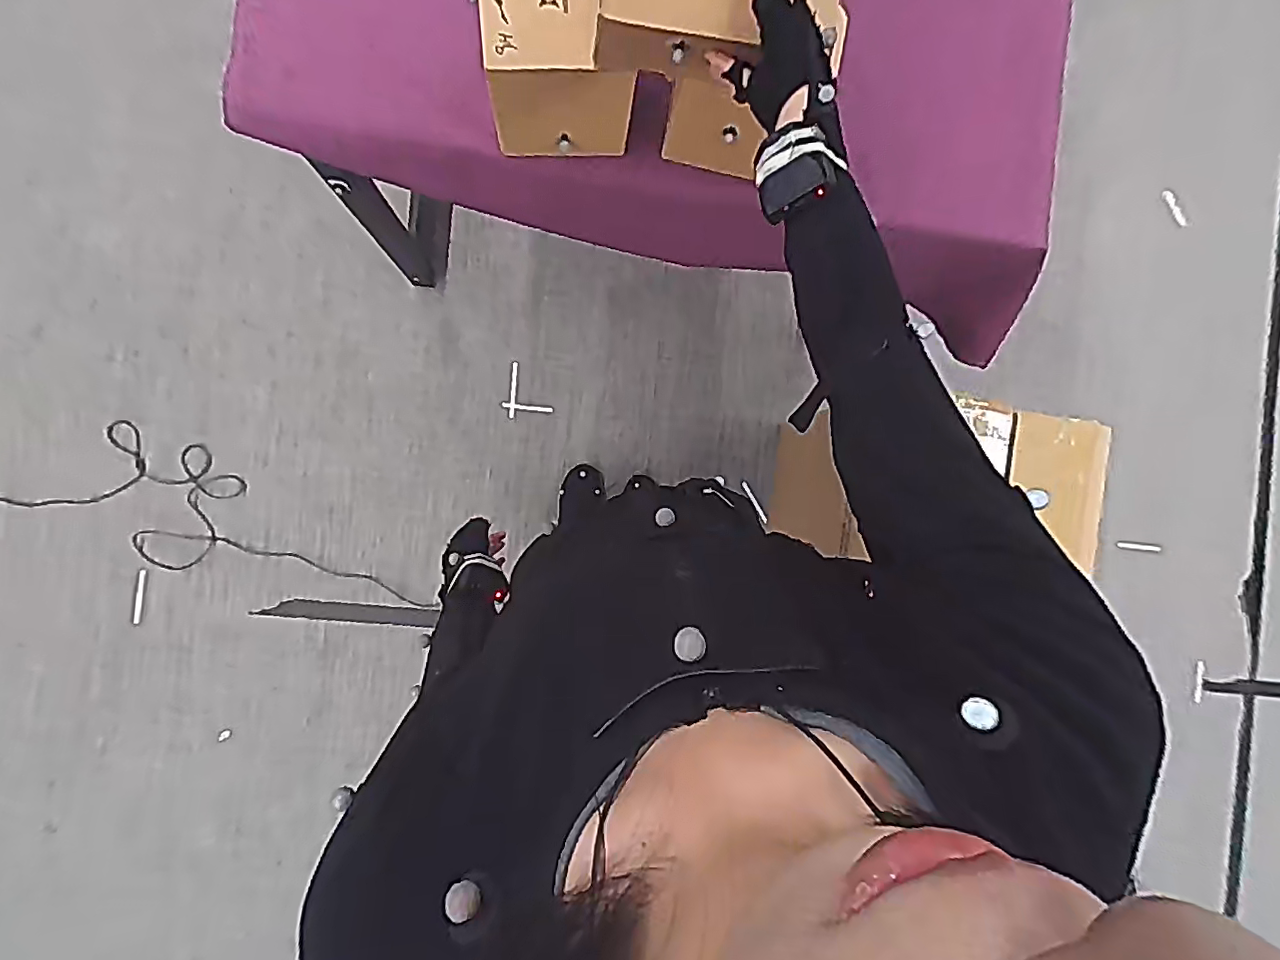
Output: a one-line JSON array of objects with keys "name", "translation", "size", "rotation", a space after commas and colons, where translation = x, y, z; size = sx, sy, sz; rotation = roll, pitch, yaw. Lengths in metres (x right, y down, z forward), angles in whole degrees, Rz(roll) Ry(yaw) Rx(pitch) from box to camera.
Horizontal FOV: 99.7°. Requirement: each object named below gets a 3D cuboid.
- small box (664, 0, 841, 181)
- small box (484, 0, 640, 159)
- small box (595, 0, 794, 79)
[{"name": "small box", "translation": [0.140, -0.536, 0.727], "size": [0.179, 0.176, 0.168], "rotation": [10, 88, -6]}, {"name": "small box", "translation": [-0.103, -0.544, 0.698], "size": [0.179, 0.176, 0.168], "rotation": [-5, 90, -8]}, {"name": "small box", "translation": [0.049, -0.512, 0.523], "size": [0.179, 0.176, 0.168], "rotation": [2, 117, -9]}]
